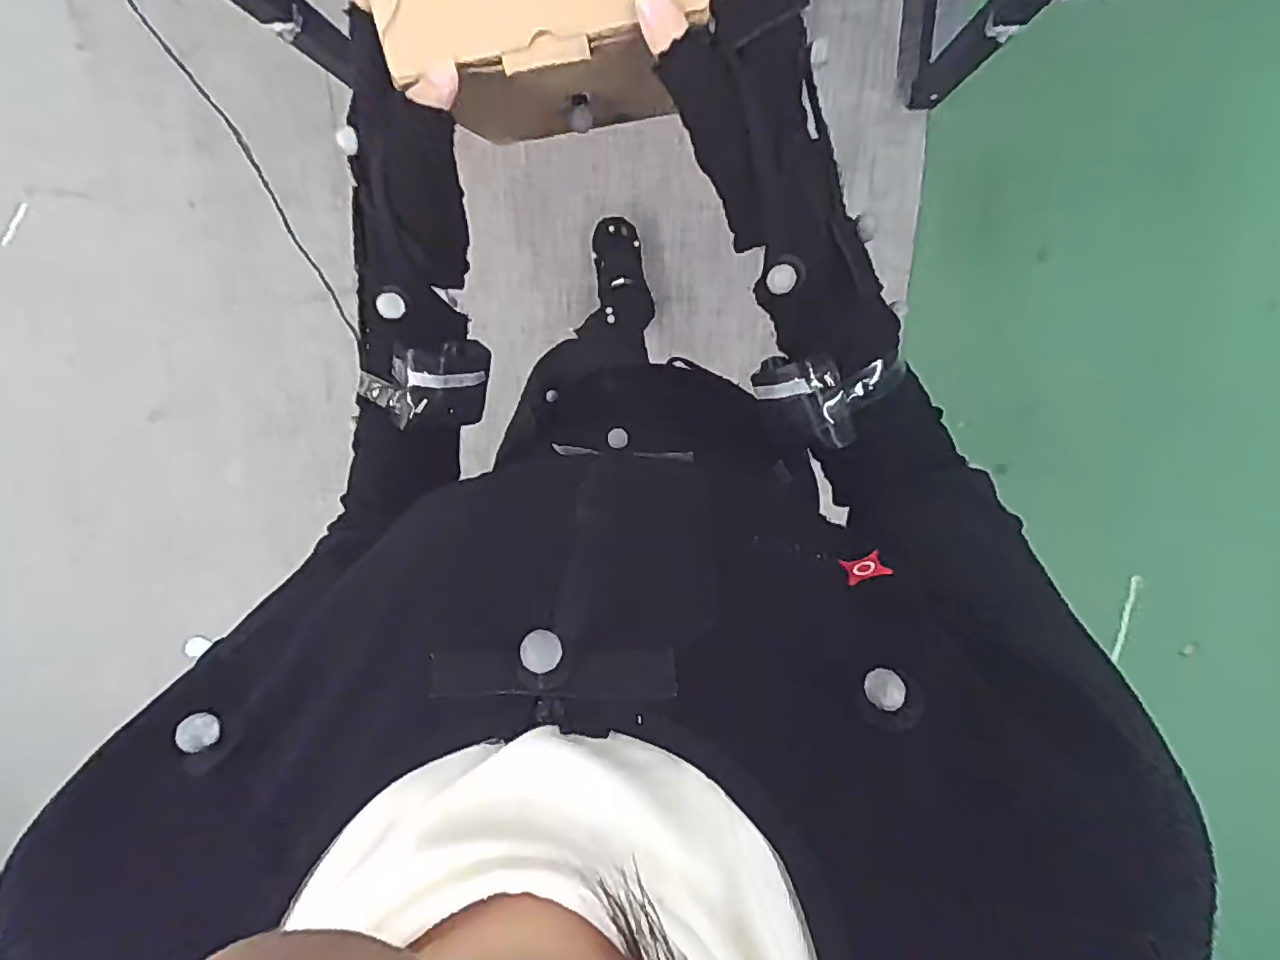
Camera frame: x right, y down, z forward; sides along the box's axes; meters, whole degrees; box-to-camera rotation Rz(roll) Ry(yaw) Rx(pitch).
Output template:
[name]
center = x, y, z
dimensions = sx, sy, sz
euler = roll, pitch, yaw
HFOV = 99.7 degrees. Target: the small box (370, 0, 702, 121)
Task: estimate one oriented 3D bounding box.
[small box]
center = -0.053, -0.326, 0.307
dimensions = 0.168, 0.176, 0.179
euler = -6, 112, 7
